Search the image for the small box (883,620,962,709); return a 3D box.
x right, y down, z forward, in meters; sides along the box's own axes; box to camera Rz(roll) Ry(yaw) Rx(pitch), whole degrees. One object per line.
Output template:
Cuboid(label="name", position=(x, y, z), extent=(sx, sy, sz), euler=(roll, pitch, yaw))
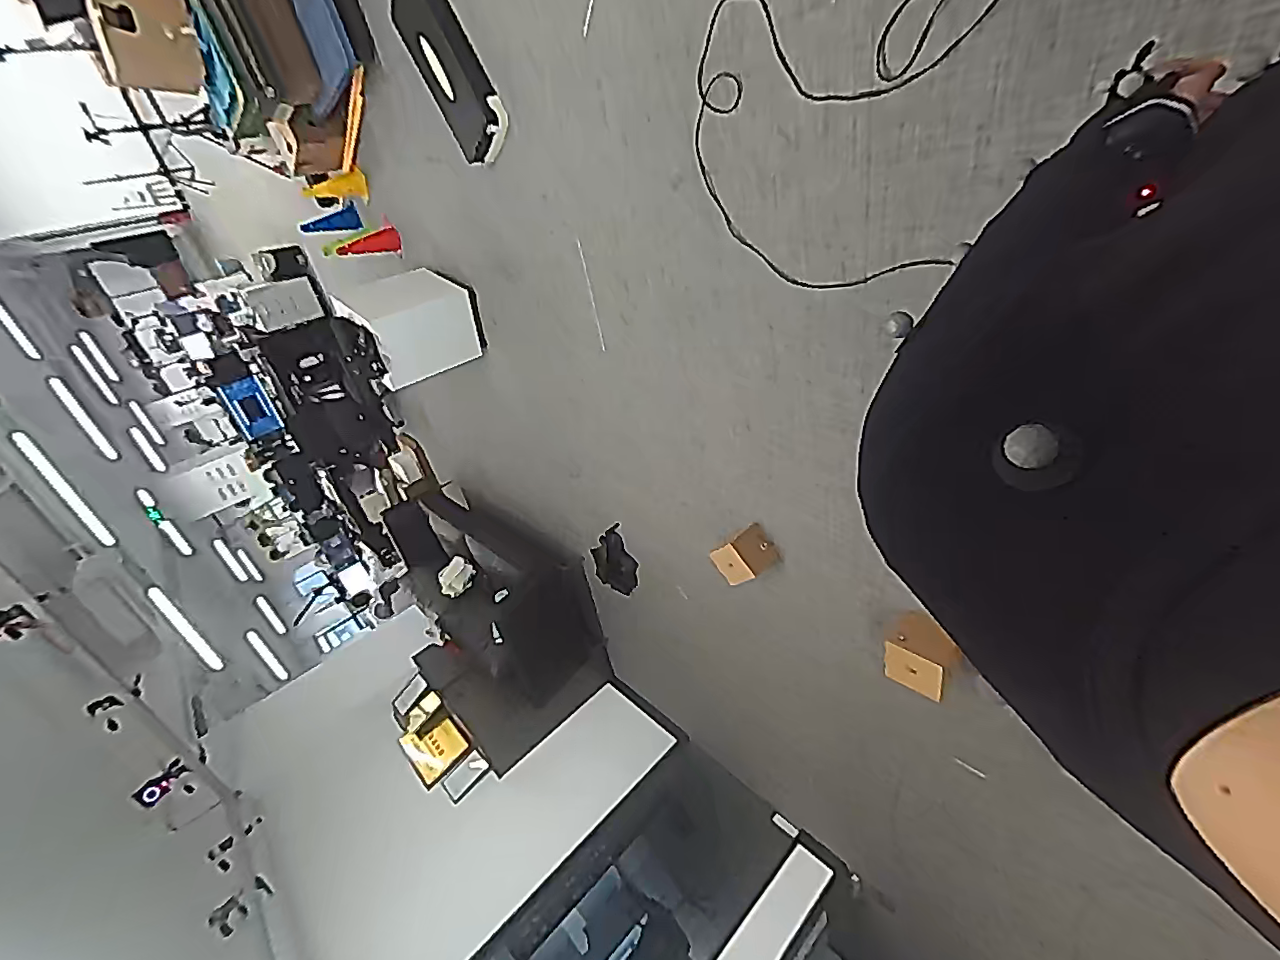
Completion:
Cuboid(label="small box", position=(0.902, 0.579, 1.724), extent=(0.179, 0.176, 0.168), euler=(20, 133, 46))

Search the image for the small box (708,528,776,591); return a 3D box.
Cuboid(label="small box", position=(0.415, 0.320, 2.181), extent=(0.168, 0.176, 0.179), euler=(53, 148, 5))
